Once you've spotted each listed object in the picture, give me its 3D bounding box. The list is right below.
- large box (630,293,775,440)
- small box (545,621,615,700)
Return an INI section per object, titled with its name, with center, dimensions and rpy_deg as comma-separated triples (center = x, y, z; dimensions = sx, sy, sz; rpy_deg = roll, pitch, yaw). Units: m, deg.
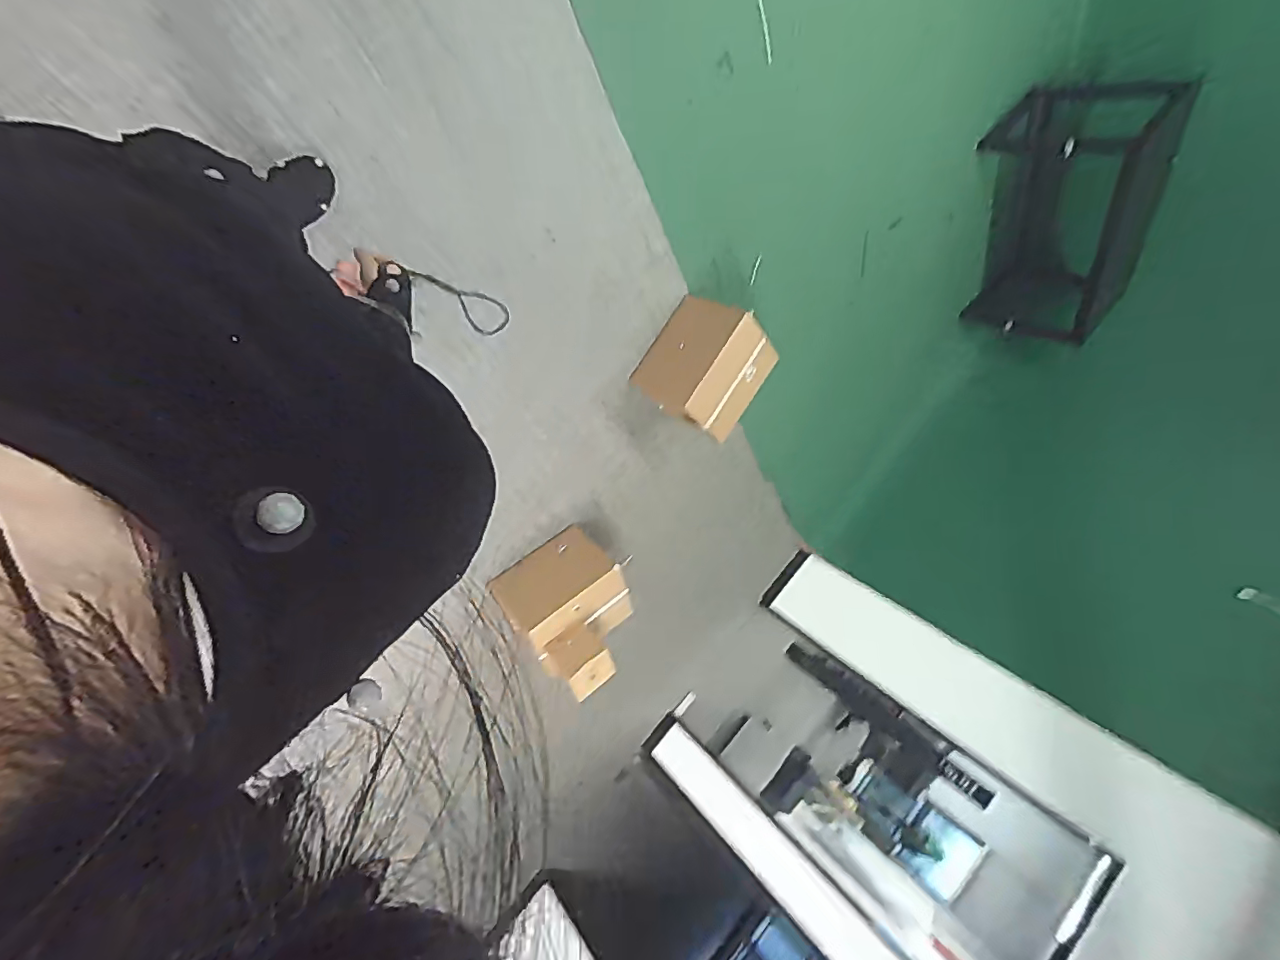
[large box]
center = 0.235, -0.430, 2.055
dimensions = 0.408, 0.320, 0.320
rpy_deg = -57, 141, 0
[small box]
center = -0.215, 0.641, 1.938
dimensions = 0.168, 0.176, 0.179
rpy_deg = -34, 137, -24
